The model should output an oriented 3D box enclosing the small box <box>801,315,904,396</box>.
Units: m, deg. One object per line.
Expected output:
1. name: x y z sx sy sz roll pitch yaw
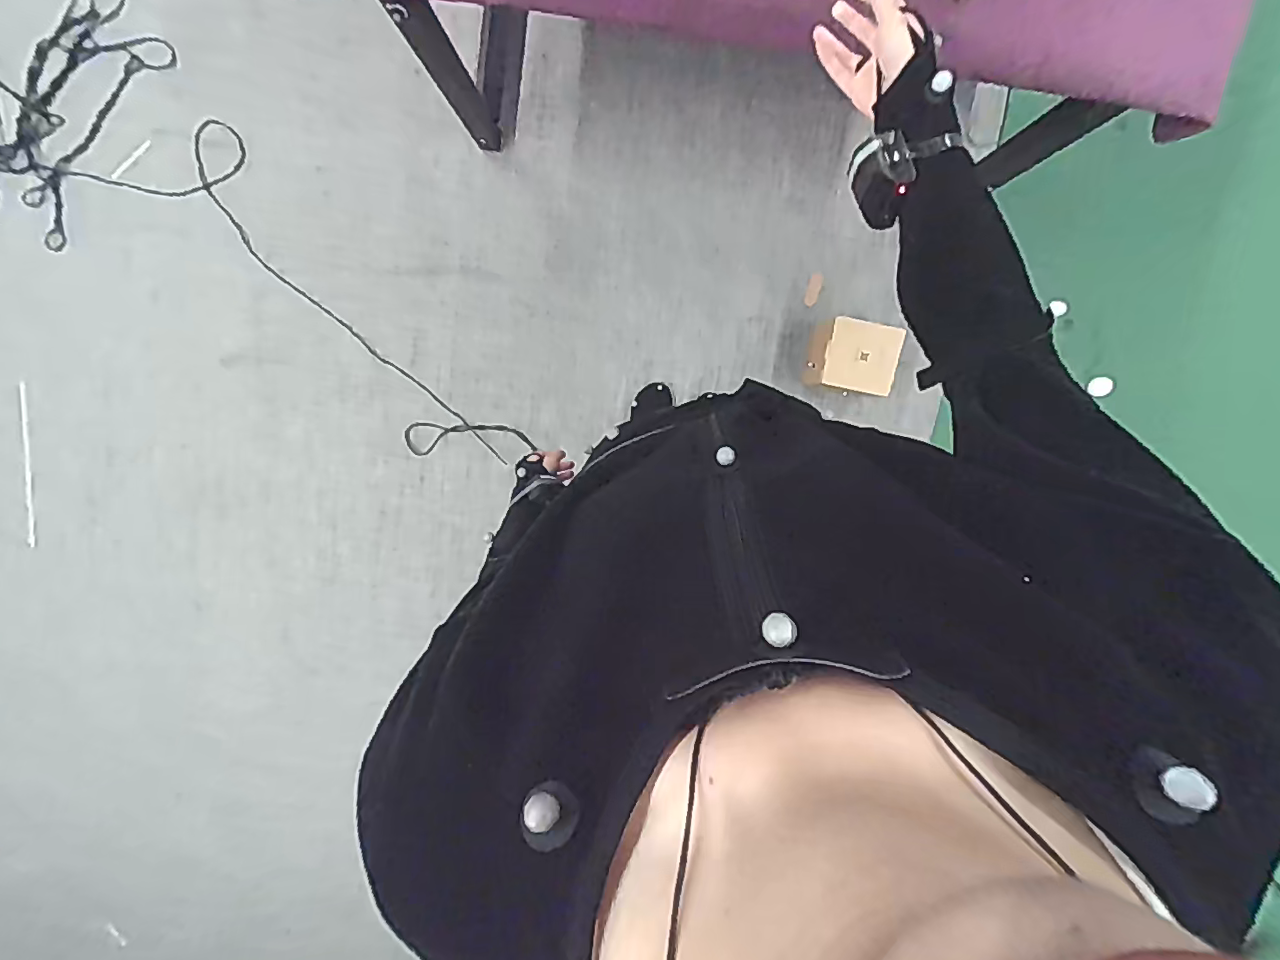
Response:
1. small box: 0.531 -0.309 1.379 0.179 0.176 0.168 12 99 -2
